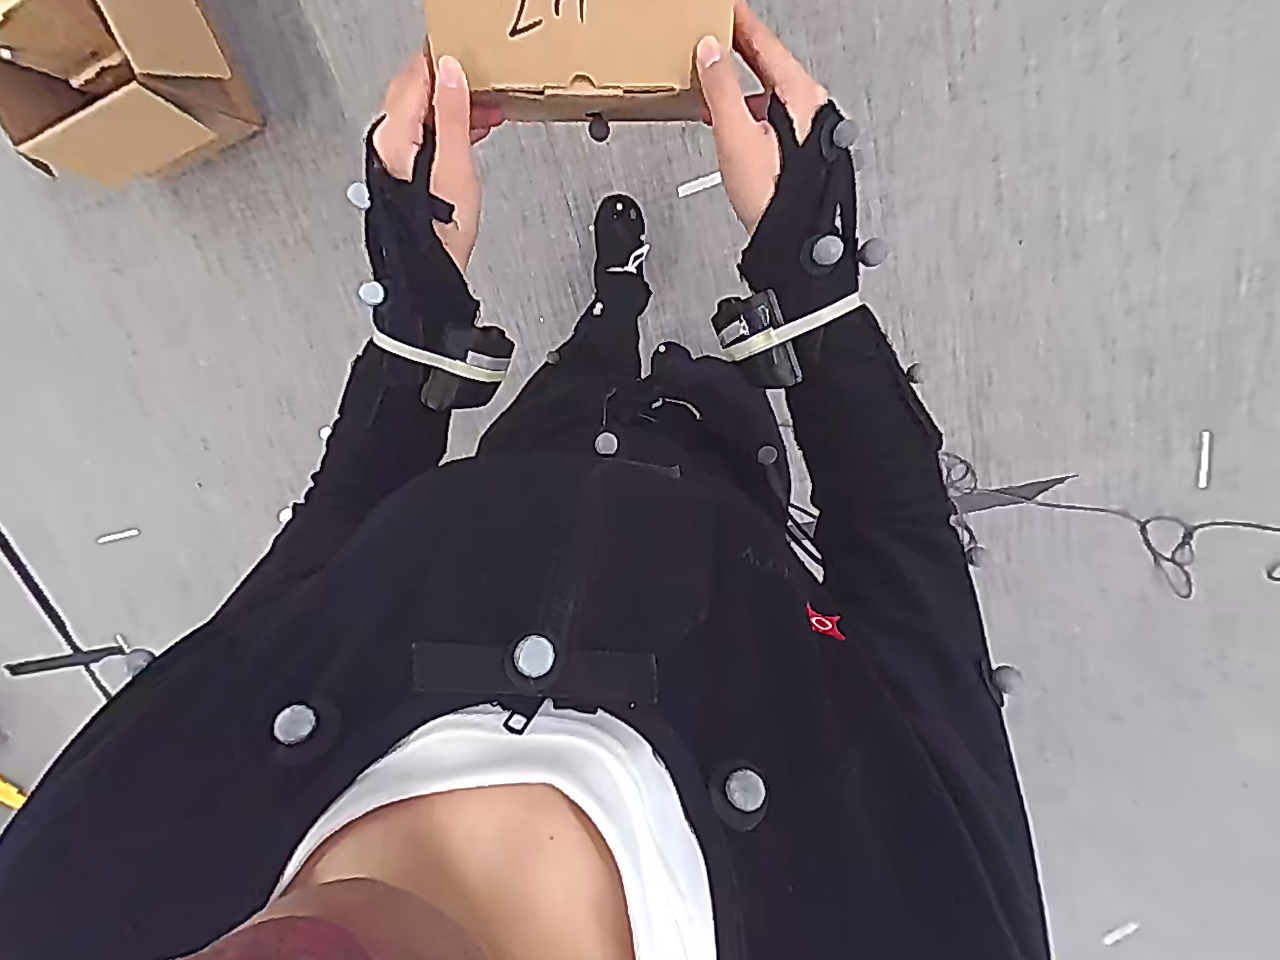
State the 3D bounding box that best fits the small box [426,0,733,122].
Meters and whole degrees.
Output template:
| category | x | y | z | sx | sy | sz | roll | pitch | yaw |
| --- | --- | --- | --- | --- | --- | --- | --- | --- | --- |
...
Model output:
| category | x | y | z | sx | sy | sz | roll | pitch | yaw |
| --- | --- | --- | --- | --- | --- | --- | --- | --- | --- |
| small box | -0.030 | -0.338 | 0.334 | 0.168 | 0.176 | 0.179 | 1 | 118 | 1 |
